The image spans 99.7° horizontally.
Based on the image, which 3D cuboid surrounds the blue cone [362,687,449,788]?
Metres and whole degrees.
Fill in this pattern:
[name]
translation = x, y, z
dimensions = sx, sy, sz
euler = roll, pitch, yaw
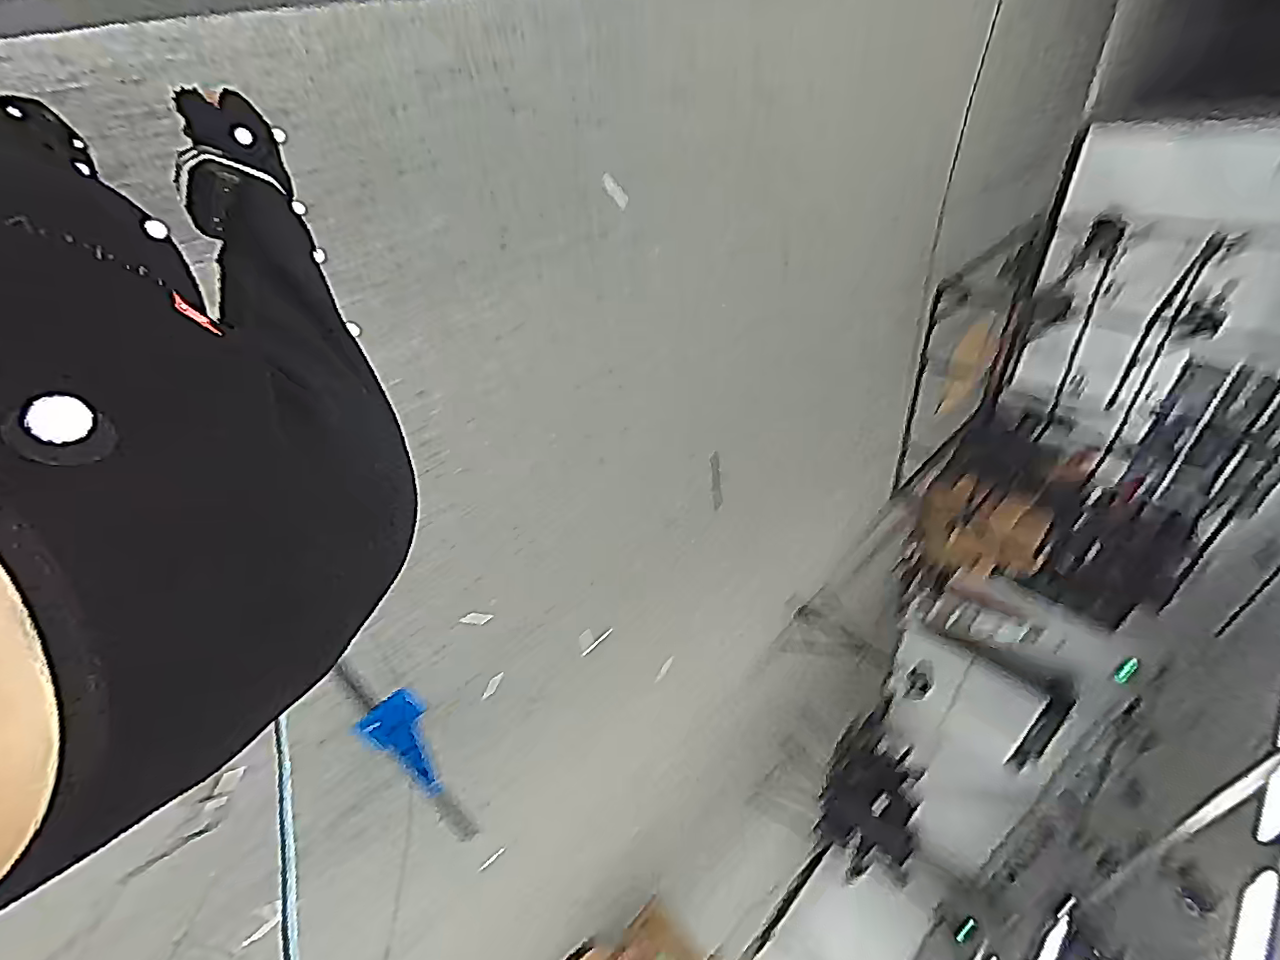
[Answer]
[blue cone]
translation = -0.769, 0.914, 1.850
dimensions = 0.192, 0.380, 0.193
euler = -39, 138, -27
